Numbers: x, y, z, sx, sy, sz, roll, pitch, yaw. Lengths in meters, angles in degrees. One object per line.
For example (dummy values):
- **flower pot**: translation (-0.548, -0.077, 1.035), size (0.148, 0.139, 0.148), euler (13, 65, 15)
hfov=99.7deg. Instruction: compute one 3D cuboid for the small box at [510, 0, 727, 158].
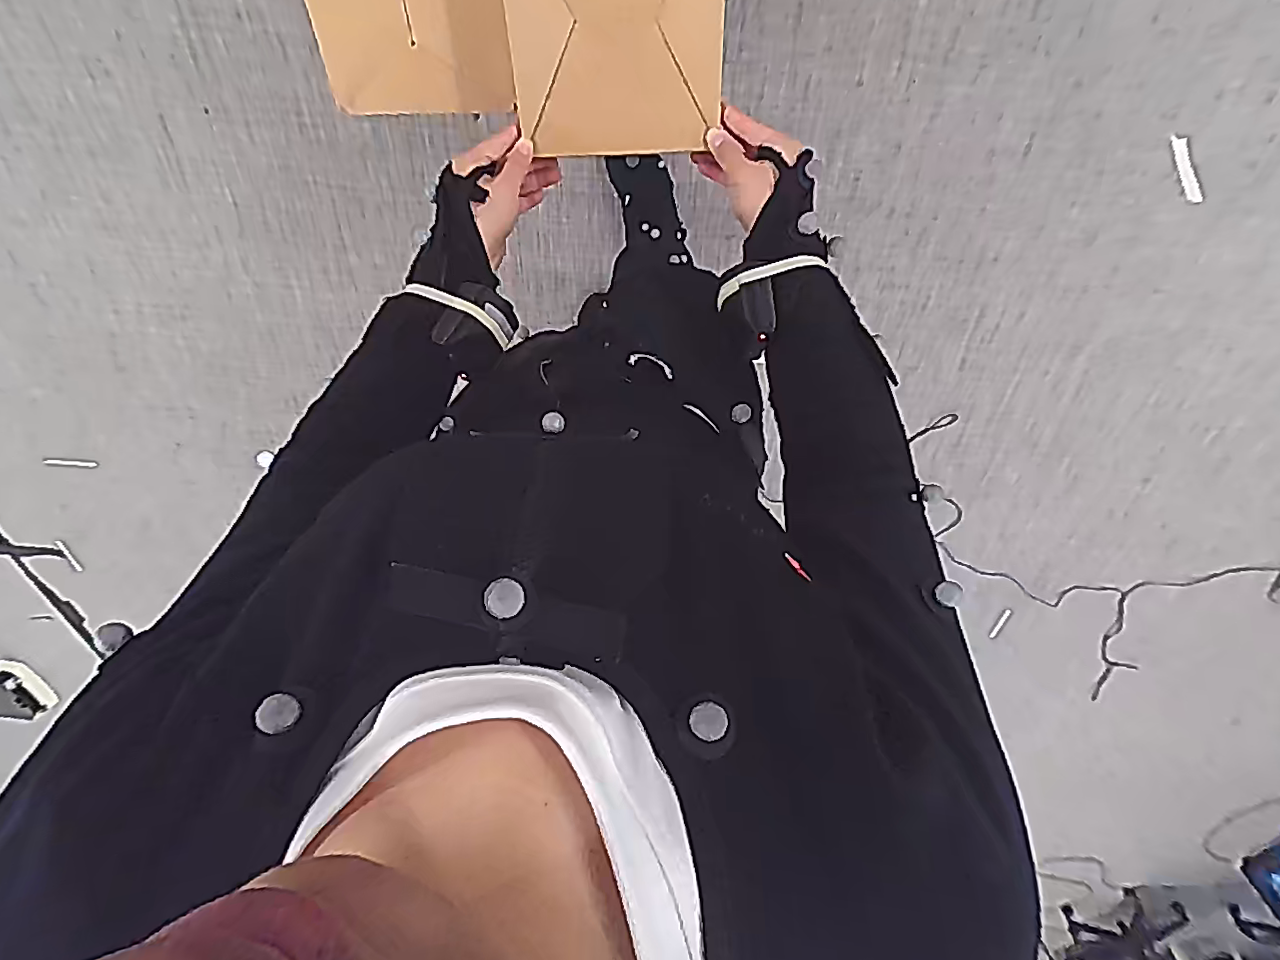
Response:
- **small box**: translation (-0.016, -0.392, 0.478), size (0.168, 0.176, 0.179), euler (-1, 125, 2)
